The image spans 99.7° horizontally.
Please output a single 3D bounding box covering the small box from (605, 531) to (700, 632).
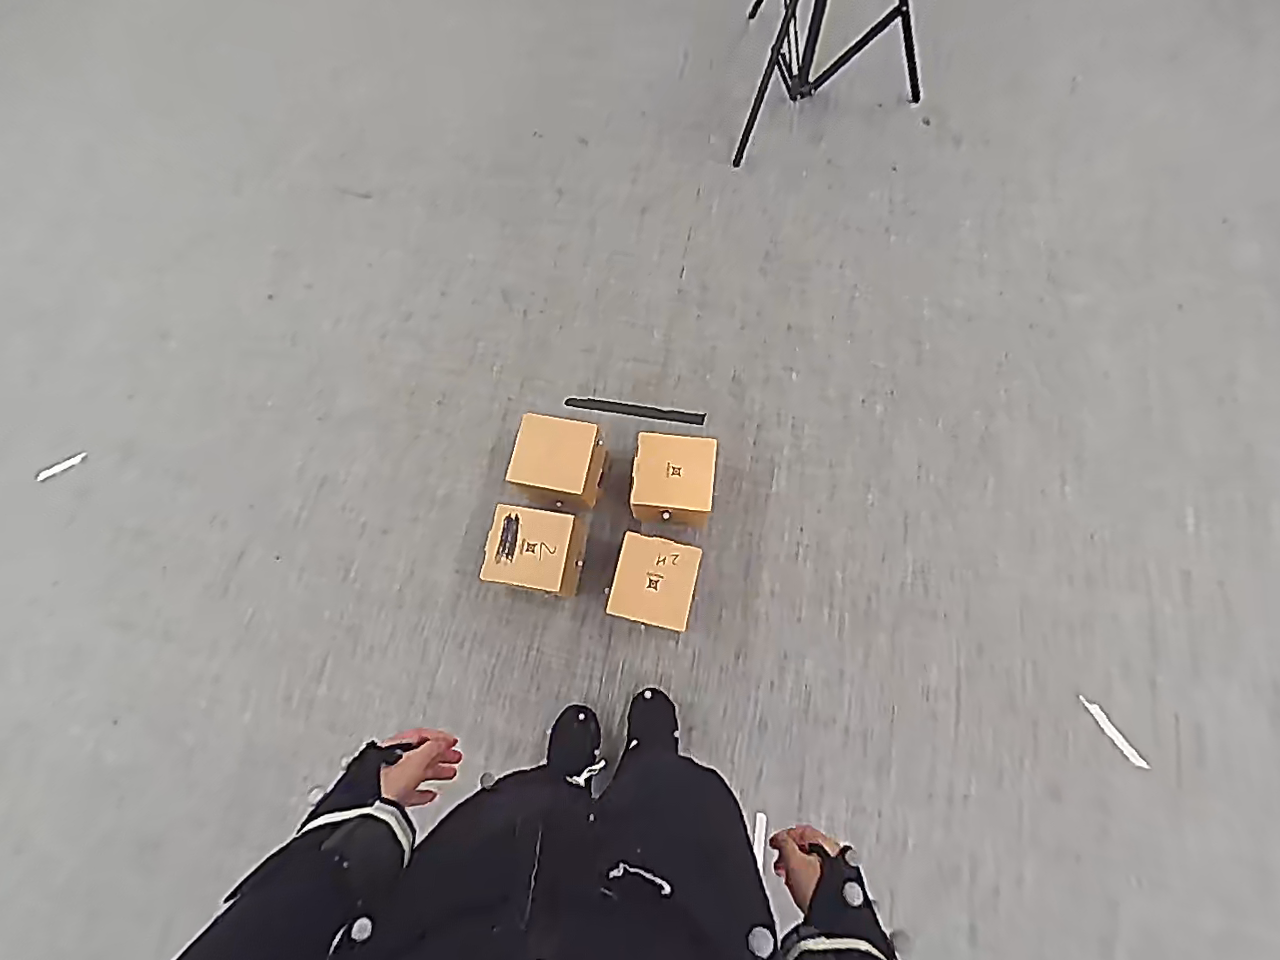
[{"bbox_3d":[0.032,0.228,1.186,0.168,0.176,0.179,13,75,6],"label":"small box"}]

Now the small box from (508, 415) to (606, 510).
[{"bbox_3d":[-0.190,-0.038,1.273,0.179,0.176,0.168,10,75,6],"label":"small box"}]
